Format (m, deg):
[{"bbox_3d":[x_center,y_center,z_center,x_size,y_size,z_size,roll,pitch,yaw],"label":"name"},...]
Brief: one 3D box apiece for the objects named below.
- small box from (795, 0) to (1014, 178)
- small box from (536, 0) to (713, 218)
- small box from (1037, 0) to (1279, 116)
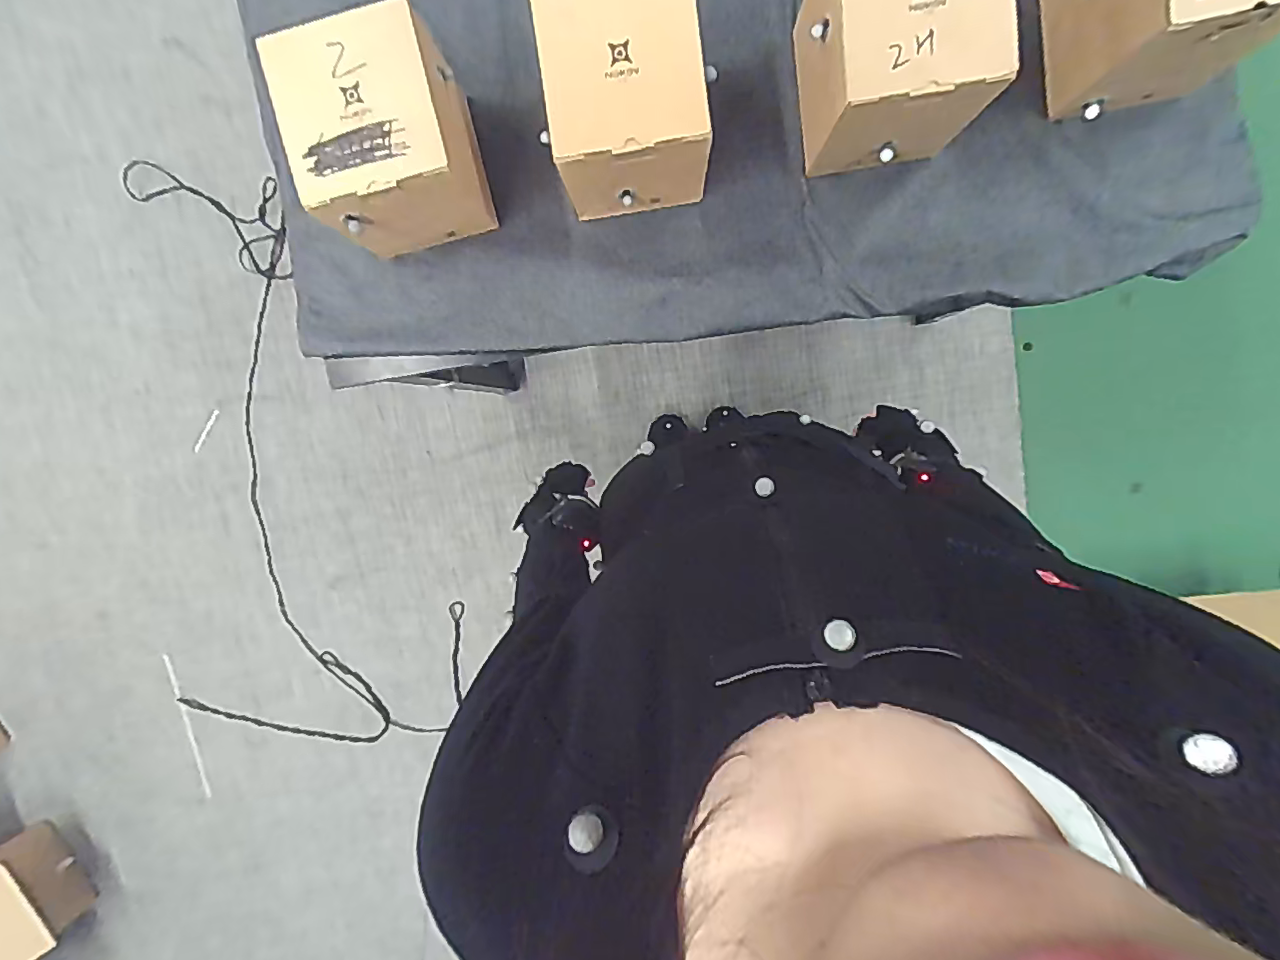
[{"bbox_3d":[0.280,-0.475,0.607,0.168,0.176,0.179,-7,96,3],"label":"small box"},{"bbox_3d":[-0.015,-0.432,0.624,0.168,0.176,0.179,-8,97,2],"label":"small box"},{"bbox_3d":[0.573,-0.532,0.590,0.168,0.176,0.179,-8,96,3],"label":"small box"}]
